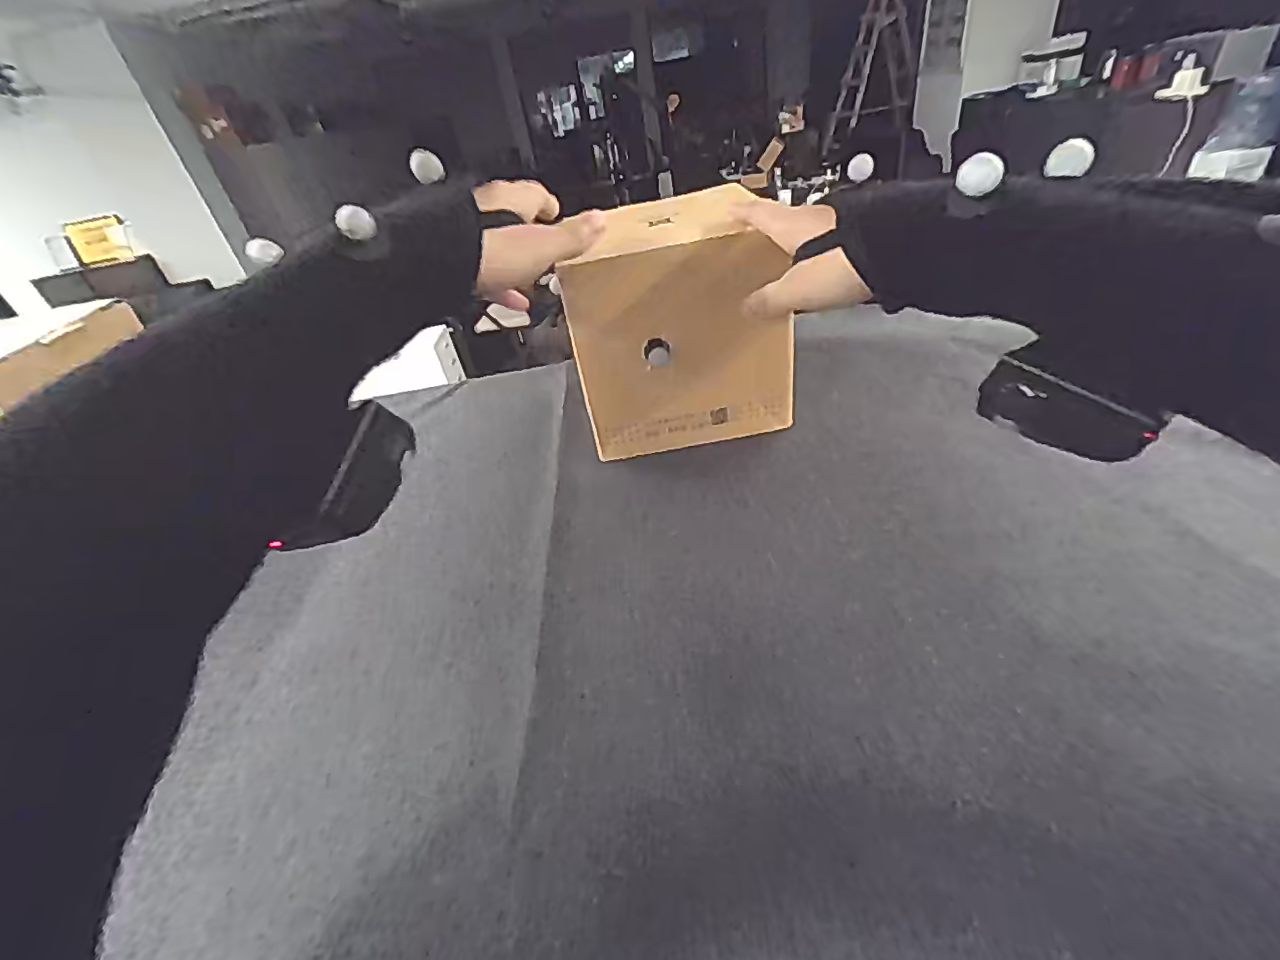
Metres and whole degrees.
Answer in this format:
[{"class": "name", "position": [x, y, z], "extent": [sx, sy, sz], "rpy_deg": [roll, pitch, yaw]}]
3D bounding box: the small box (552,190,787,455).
[{"class": "small box", "position": [0.027, -0.135, 0.476], "extent": [0.168, 0.176, 0.179], "rpy_deg": [-11, 35, 1]}]
